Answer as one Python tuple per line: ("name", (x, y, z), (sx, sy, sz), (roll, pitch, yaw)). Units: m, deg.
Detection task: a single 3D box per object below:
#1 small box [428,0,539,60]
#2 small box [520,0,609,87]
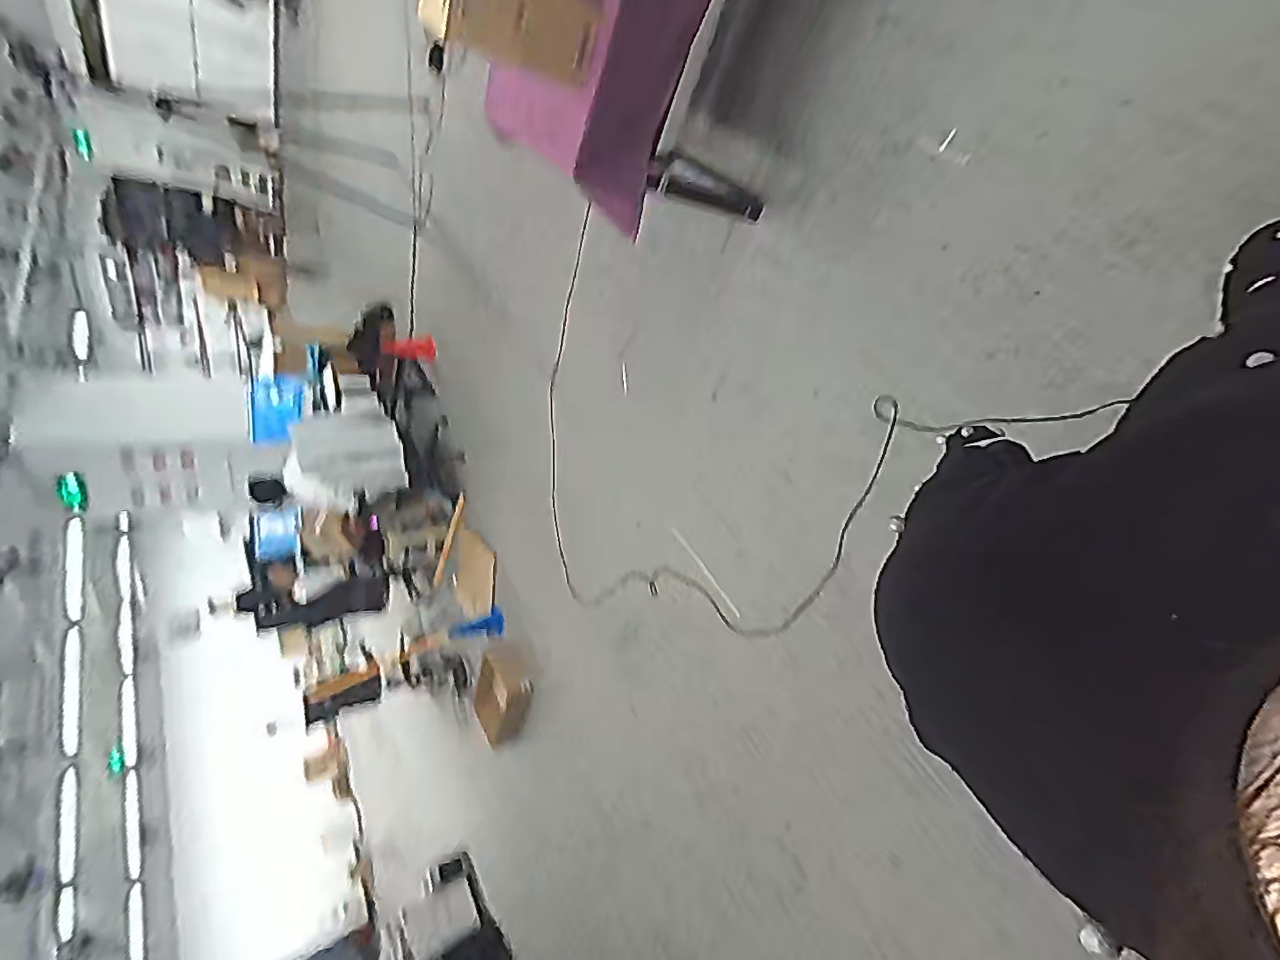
("small box", (-0.328, -1.031, 1.142), (0.179, 0.176, 0.168), (57, 136, 30))
("small box", (-0.200, -1.048, 1.245), (0.179, 0.176, 0.168), (56, 134, 29))
